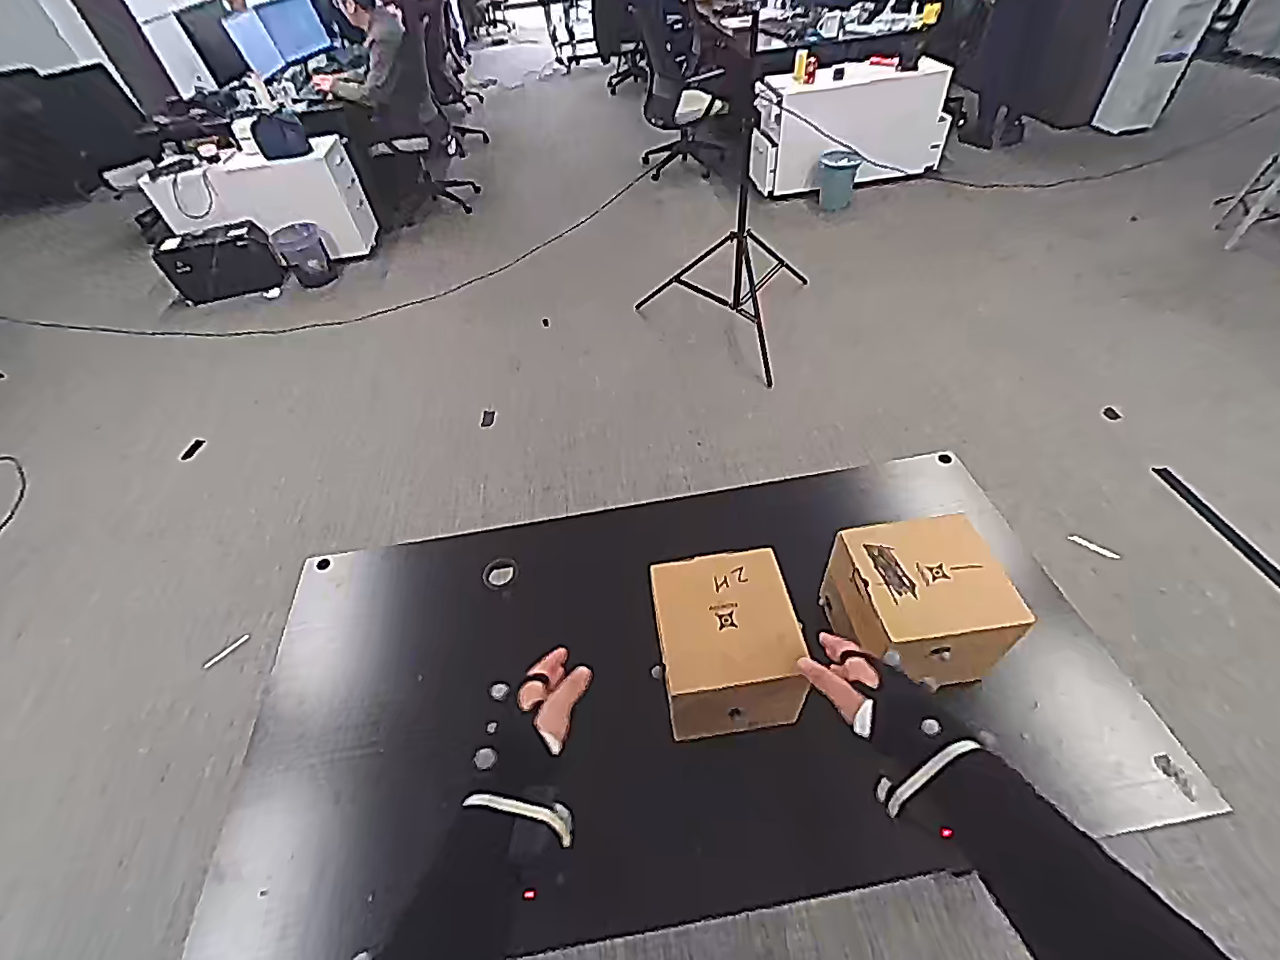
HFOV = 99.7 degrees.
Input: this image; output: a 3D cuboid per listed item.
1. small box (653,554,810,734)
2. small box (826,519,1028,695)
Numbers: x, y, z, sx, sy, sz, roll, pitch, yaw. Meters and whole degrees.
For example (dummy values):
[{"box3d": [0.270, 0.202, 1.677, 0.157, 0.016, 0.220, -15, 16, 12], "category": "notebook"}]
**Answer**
[{"box3d": [0.114, 0.226, 0.729, 0.168, 0.176, 0.179, -8, 48, -1], "category": "small box"}, {"box3d": [0.370, 0.178, 0.743, 0.179, 0.176, 0.168, -8, 47, -1], "category": "small box"}]
